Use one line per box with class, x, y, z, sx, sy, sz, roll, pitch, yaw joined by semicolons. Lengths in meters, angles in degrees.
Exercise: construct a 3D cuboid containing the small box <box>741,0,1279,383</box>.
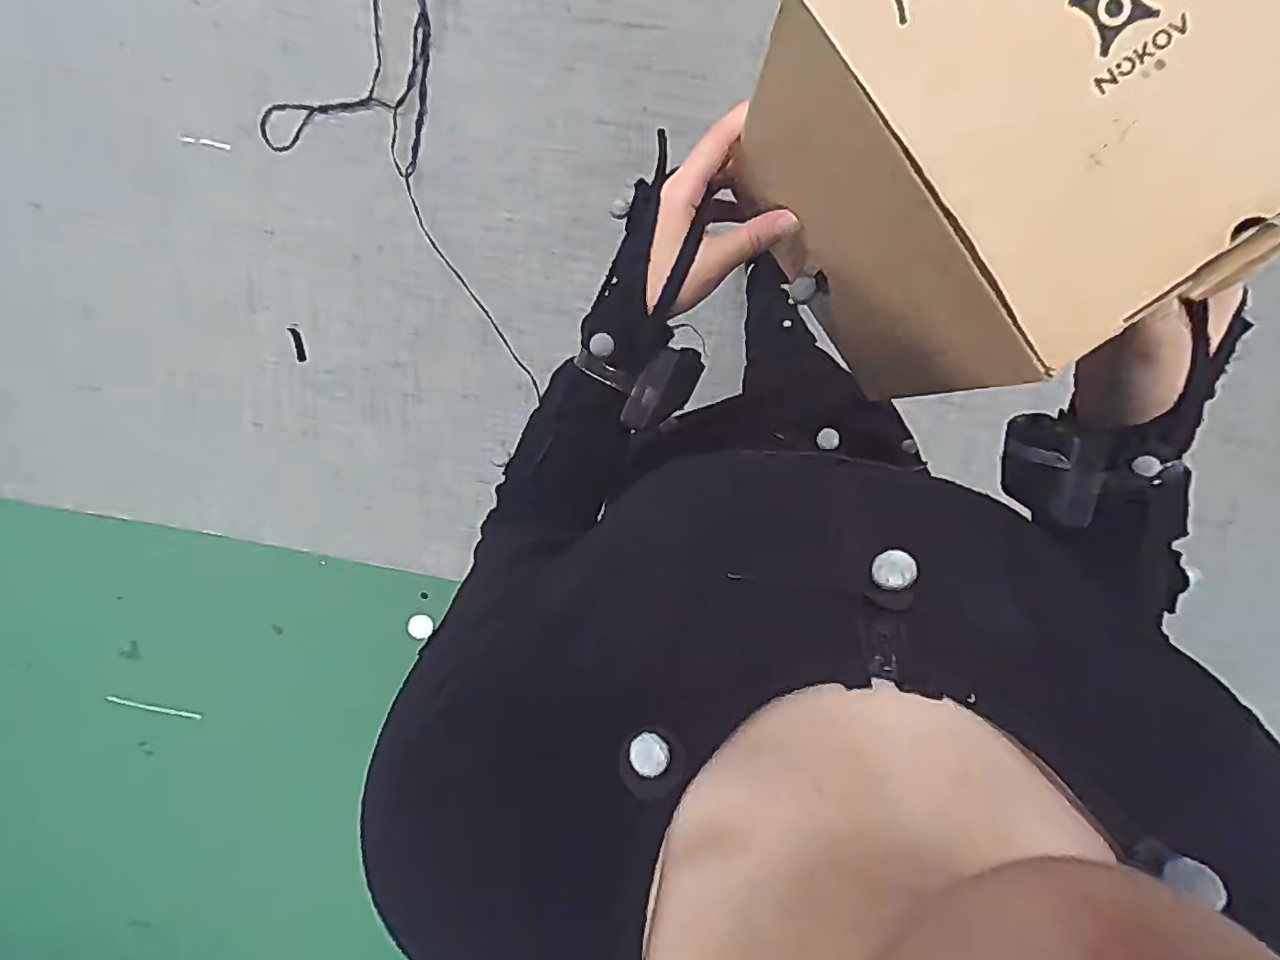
small box;0.174;-0.164;0.274;0.168;0.176;0.179;-35;94;4
